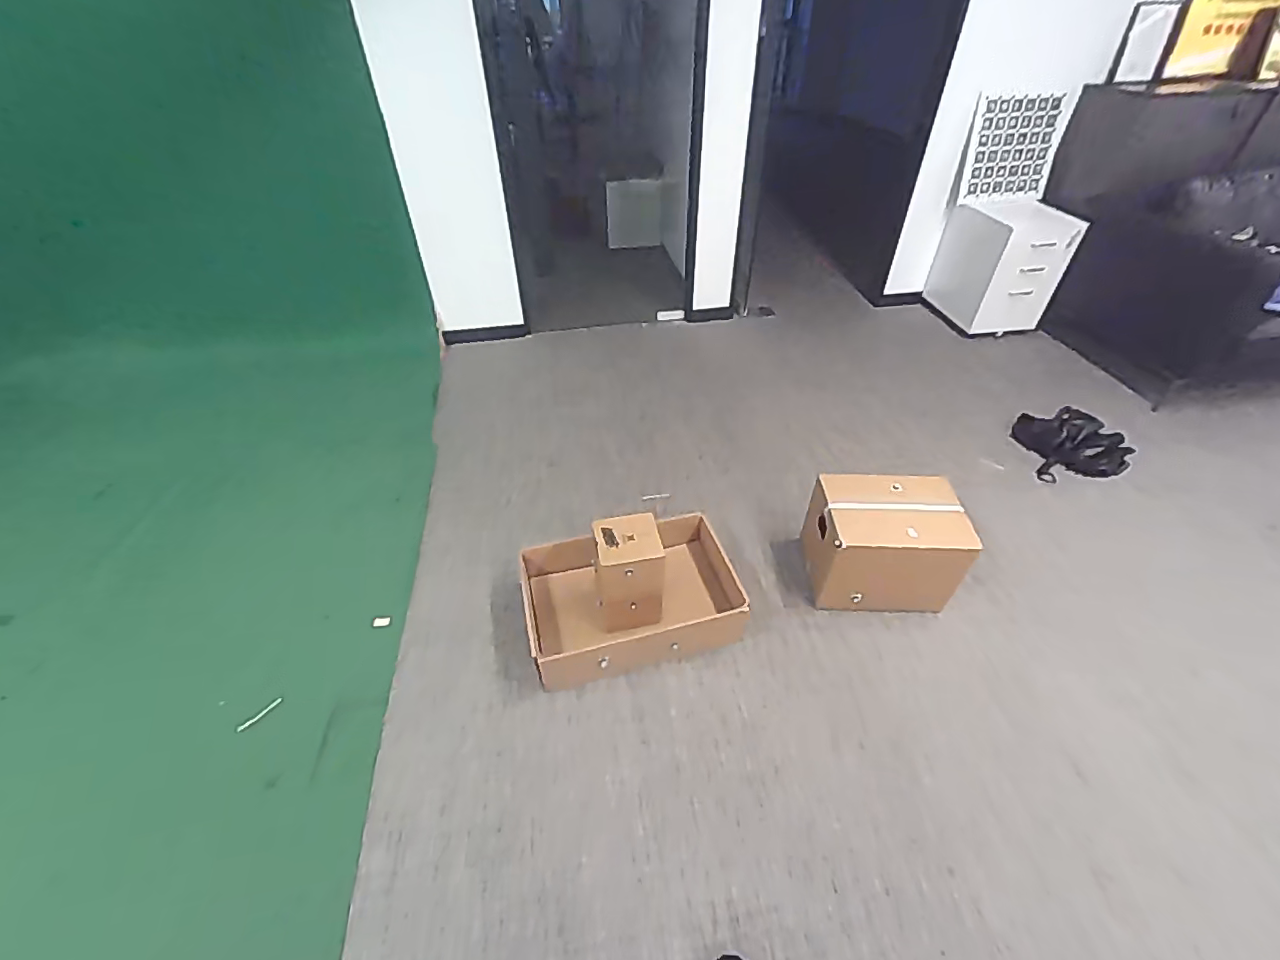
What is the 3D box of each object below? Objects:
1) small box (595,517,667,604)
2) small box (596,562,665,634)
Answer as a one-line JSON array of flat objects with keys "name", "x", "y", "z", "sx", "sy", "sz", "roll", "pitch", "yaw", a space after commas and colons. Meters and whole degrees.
[{"name": "small box", "x": -0.027, "y": 0.229, "z": 1.515, "sx": 0.179, "sy": 0.176, "sz": 0.168, "roll": -7, "pitch": 42, "yaw": -9}, {"name": "small box", "x": -0.030, "y": 0.344, "z": 1.633, "sx": 0.179, "sy": 0.176, "sz": 0.168, "roll": -9, "pitch": 43, "yaw": -12}]
